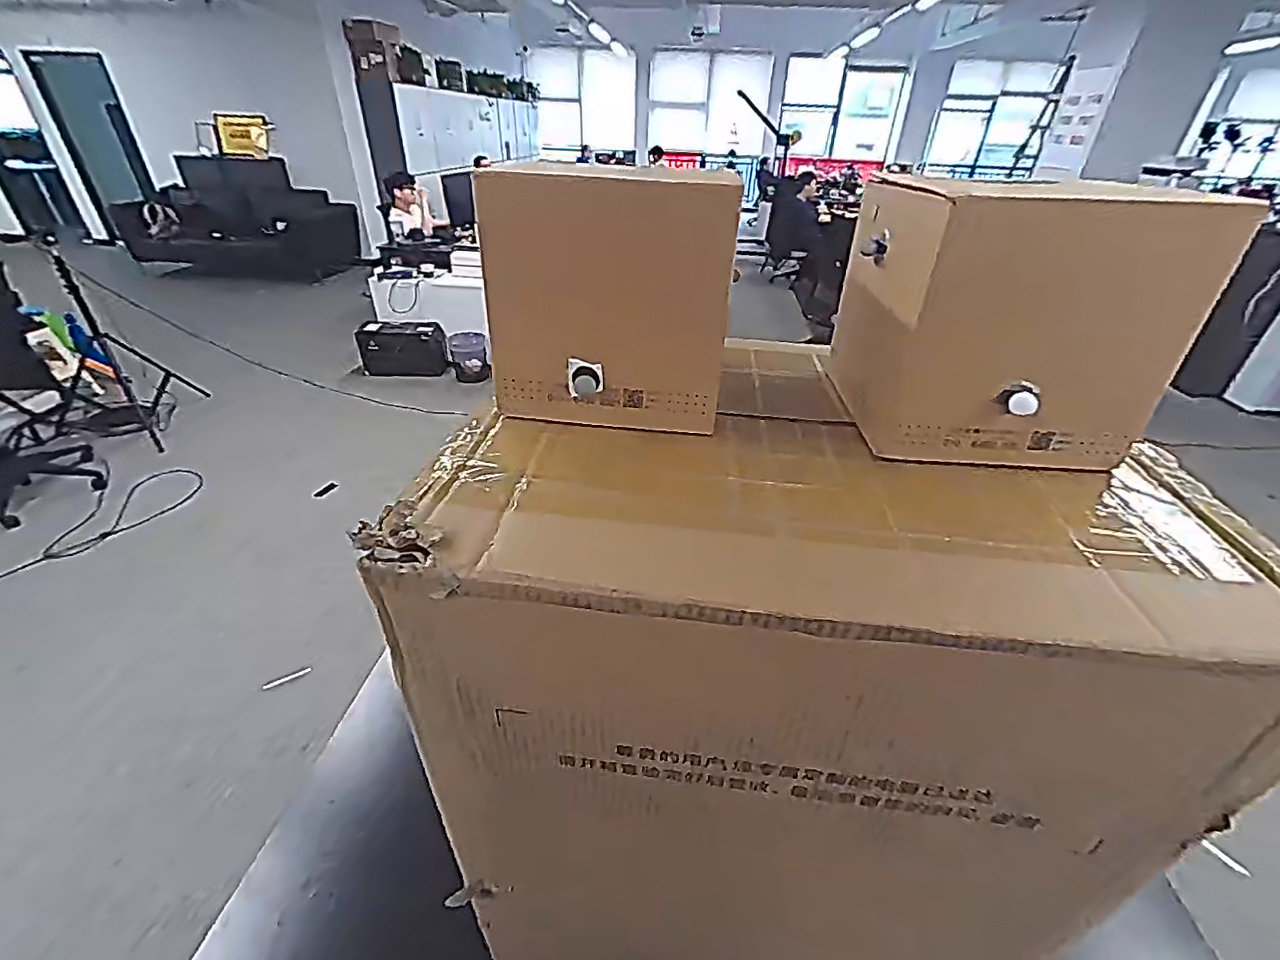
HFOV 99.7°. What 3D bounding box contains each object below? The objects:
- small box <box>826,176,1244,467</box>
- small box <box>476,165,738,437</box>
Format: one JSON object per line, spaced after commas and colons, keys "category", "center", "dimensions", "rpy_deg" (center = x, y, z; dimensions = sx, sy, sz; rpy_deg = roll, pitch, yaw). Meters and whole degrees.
{"category": "small box", "center": [0.252, -0.128, 0.410], "dimensions": [0.168, 0.176, 0.179], "rpy_deg": [3, 33, 4]}
{"category": "small box", "center": [-0.018, -0.152, 0.439], "dimensions": [0.168, 0.176, 0.179], "rpy_deg": [3, 33, 3]}
